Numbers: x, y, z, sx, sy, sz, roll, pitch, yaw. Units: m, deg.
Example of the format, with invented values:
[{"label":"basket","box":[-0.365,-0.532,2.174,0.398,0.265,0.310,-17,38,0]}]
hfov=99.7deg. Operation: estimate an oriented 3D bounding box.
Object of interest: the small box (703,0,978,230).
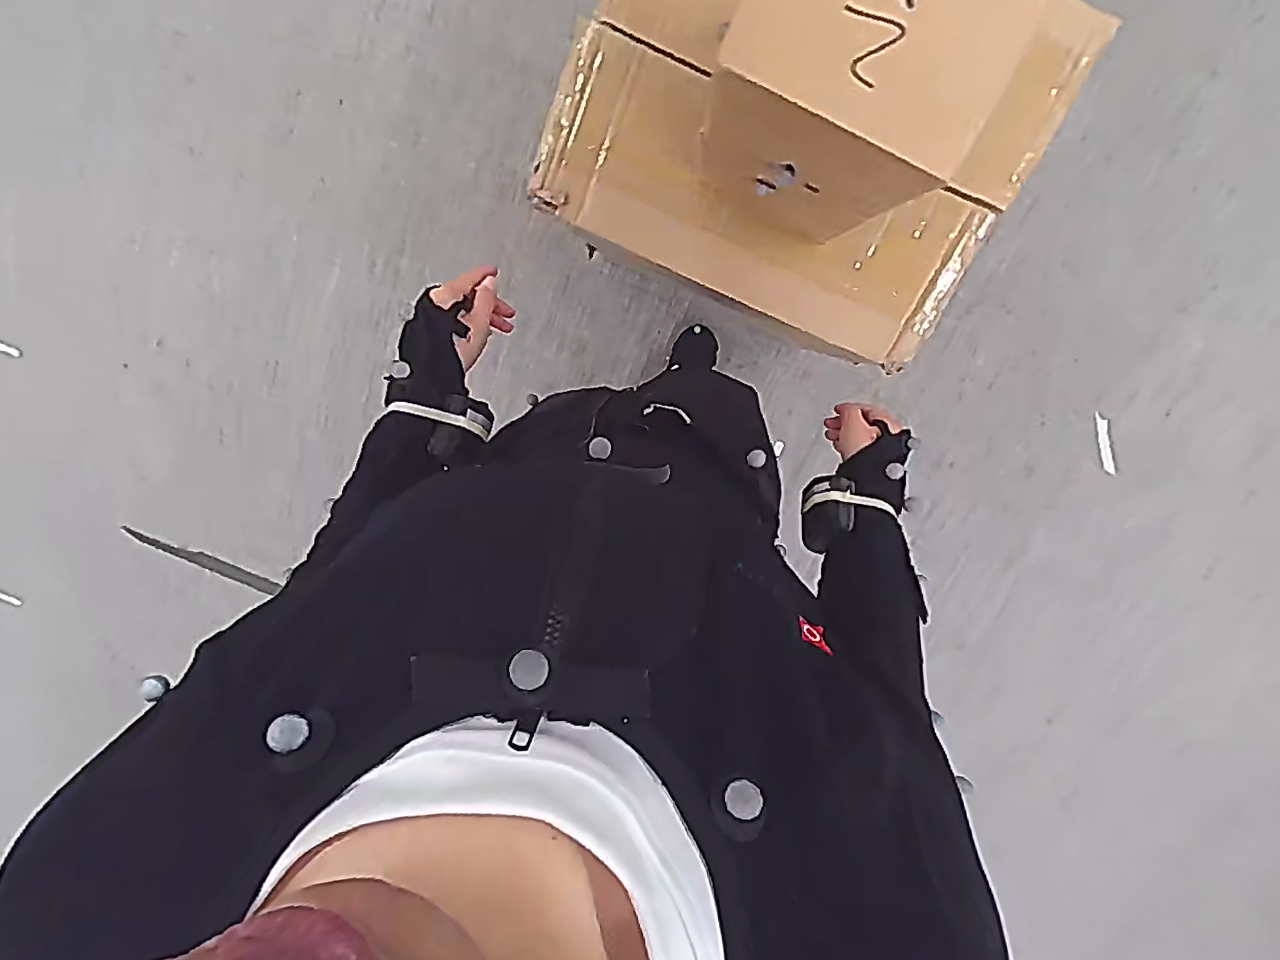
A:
[{"label":"small box","box":[0.172,-0.370,0.537,0.179,0.176,0.168,25,108,-4]}]
